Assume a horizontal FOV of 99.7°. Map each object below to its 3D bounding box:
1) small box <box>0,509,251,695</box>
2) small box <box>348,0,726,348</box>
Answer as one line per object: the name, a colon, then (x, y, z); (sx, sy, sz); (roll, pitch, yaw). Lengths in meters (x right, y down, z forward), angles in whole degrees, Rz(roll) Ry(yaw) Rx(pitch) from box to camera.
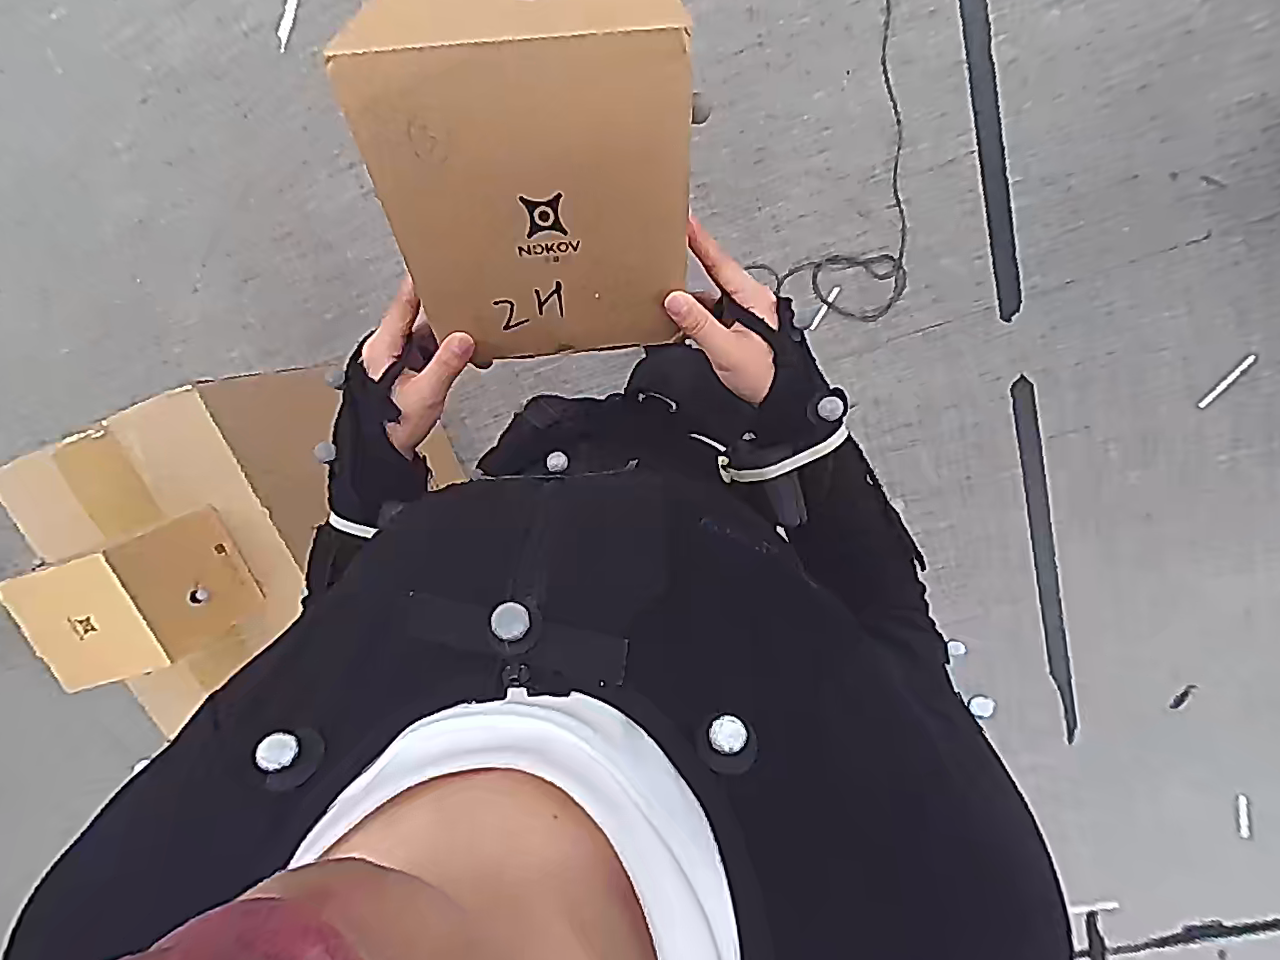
small box: (-0.682, 0.155, 0.737); (0.179, 0.176, 0.168); (-16, 105, 9)
small box: (-0.051, -0.210, 0.343); (0.168, 0.176, 0.179); (-5, 141, -3)
